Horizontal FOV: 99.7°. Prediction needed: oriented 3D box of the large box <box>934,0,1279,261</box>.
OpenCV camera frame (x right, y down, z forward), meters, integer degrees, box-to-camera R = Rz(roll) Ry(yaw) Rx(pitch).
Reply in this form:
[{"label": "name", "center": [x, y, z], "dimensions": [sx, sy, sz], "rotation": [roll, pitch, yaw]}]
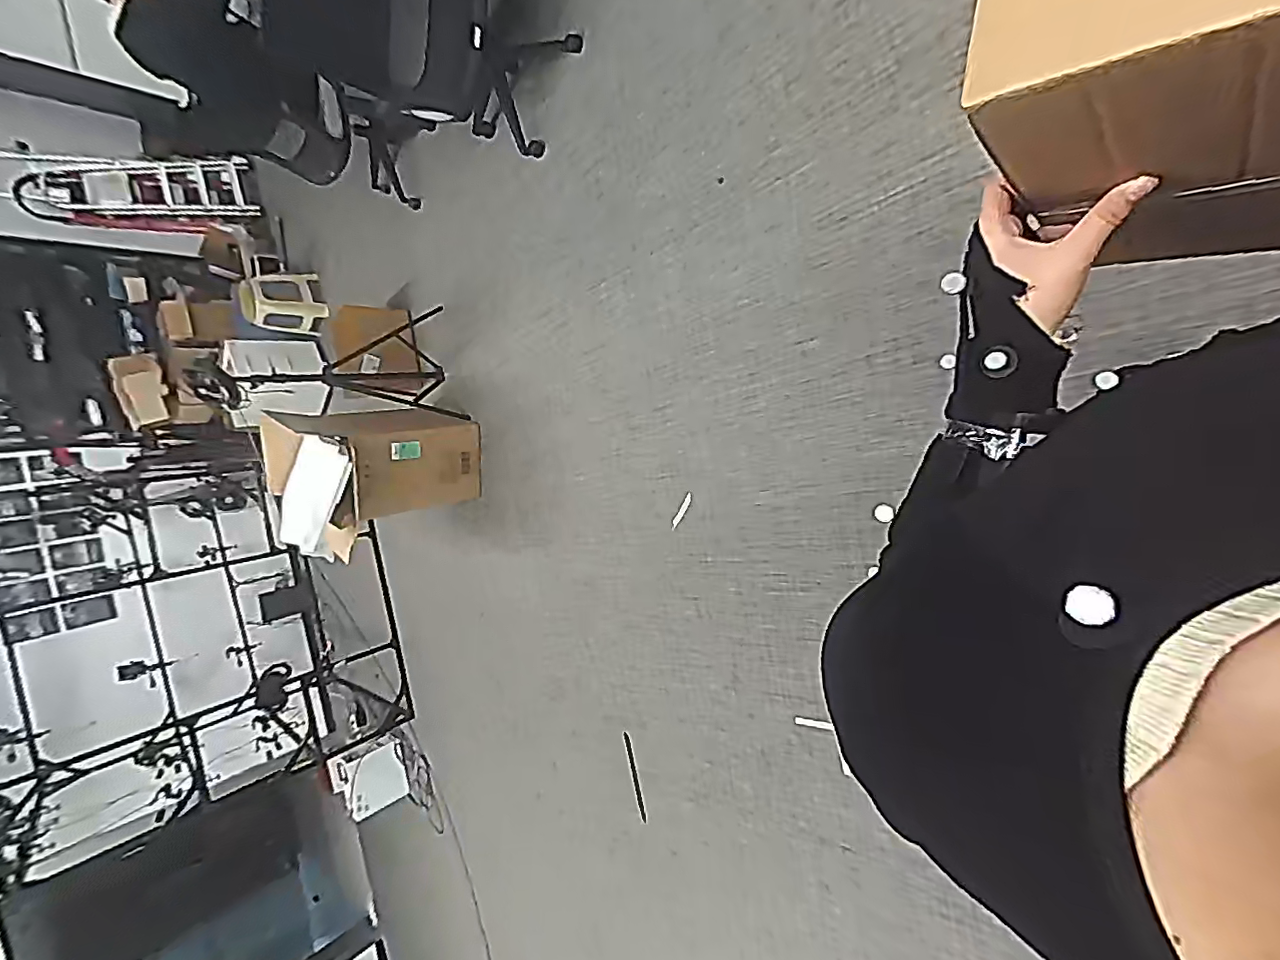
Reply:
[{"label": "large box", "center": [0.403, -0.312, 0.217], "dimensions": [0.408, 0.320, 0.320], "rotation": [12, 102, 47]}]
